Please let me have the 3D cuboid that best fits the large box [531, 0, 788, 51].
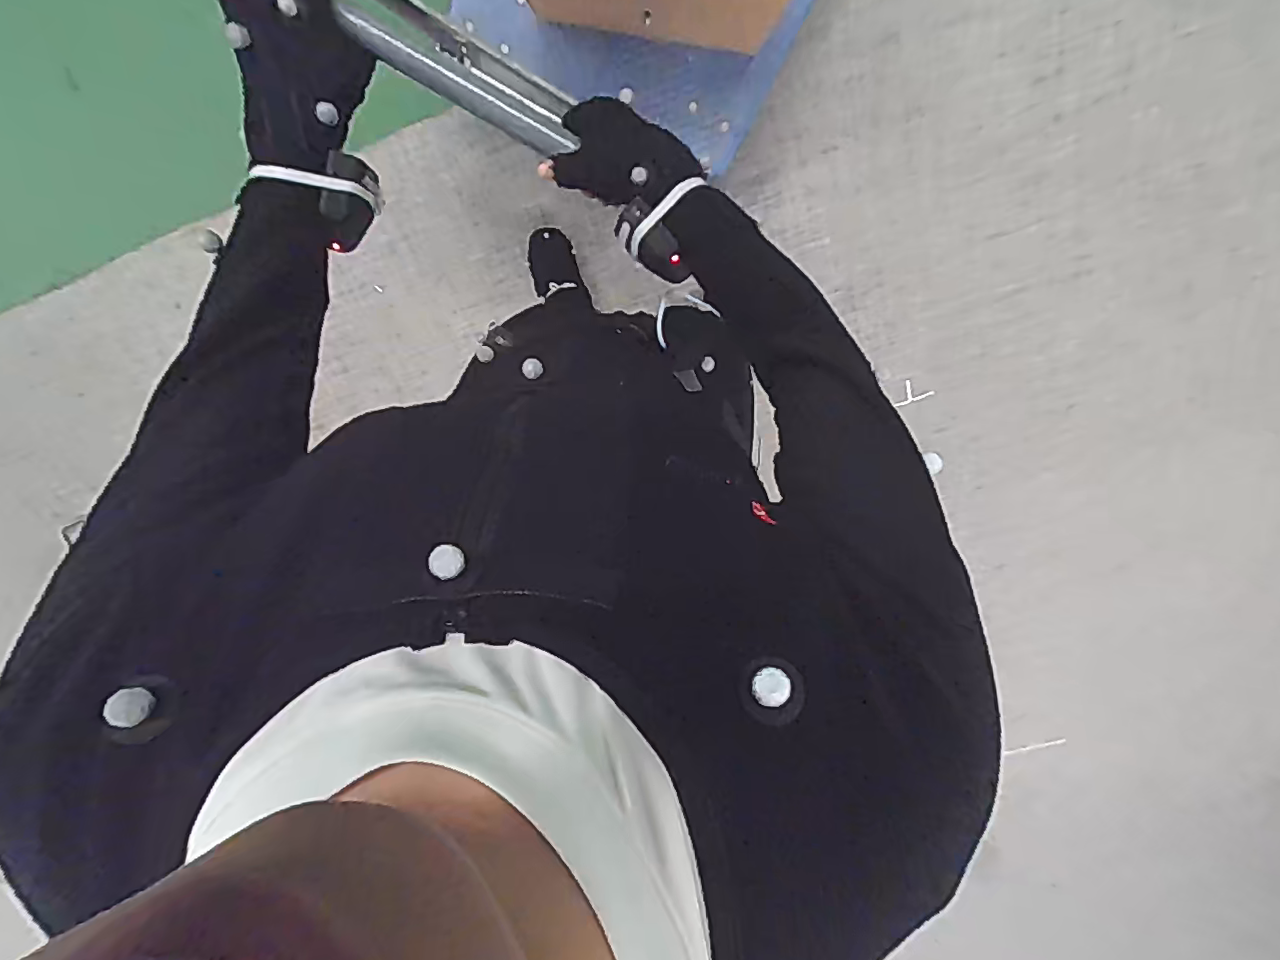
[{"bbox_3d":[0.033,-0.873,0.785,0.408,0.320,0.320,8,115,-2],"label":"large box"}]
